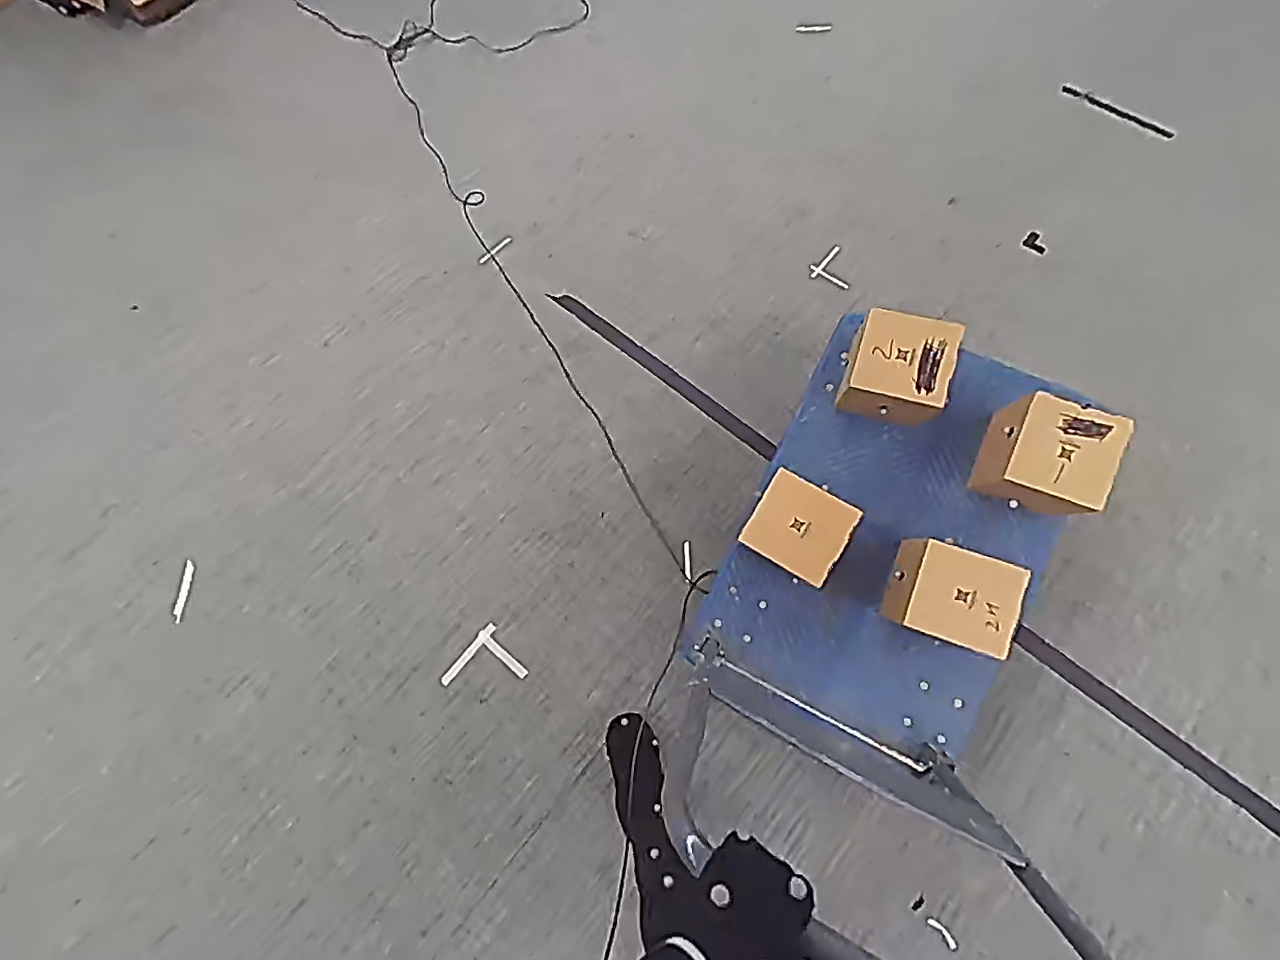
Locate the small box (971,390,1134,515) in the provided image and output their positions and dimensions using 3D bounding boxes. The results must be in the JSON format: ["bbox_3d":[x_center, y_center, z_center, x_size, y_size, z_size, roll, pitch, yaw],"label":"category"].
[{"bbox_3d":[0.771,-0.045,1.032,0.168,0.176,0.179,22,87,12],"label":"small box"}]

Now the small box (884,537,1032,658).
[{"bbox_3d":[0.589,0.217,1.027,0.179,0.176,0.168,19,86,12],"label":"small box"}]

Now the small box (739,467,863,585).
[{"bbox_3d":[0.312,0.097,1.092,0.179,0.176,0.168,30,88,11],"label":"small box"}]
